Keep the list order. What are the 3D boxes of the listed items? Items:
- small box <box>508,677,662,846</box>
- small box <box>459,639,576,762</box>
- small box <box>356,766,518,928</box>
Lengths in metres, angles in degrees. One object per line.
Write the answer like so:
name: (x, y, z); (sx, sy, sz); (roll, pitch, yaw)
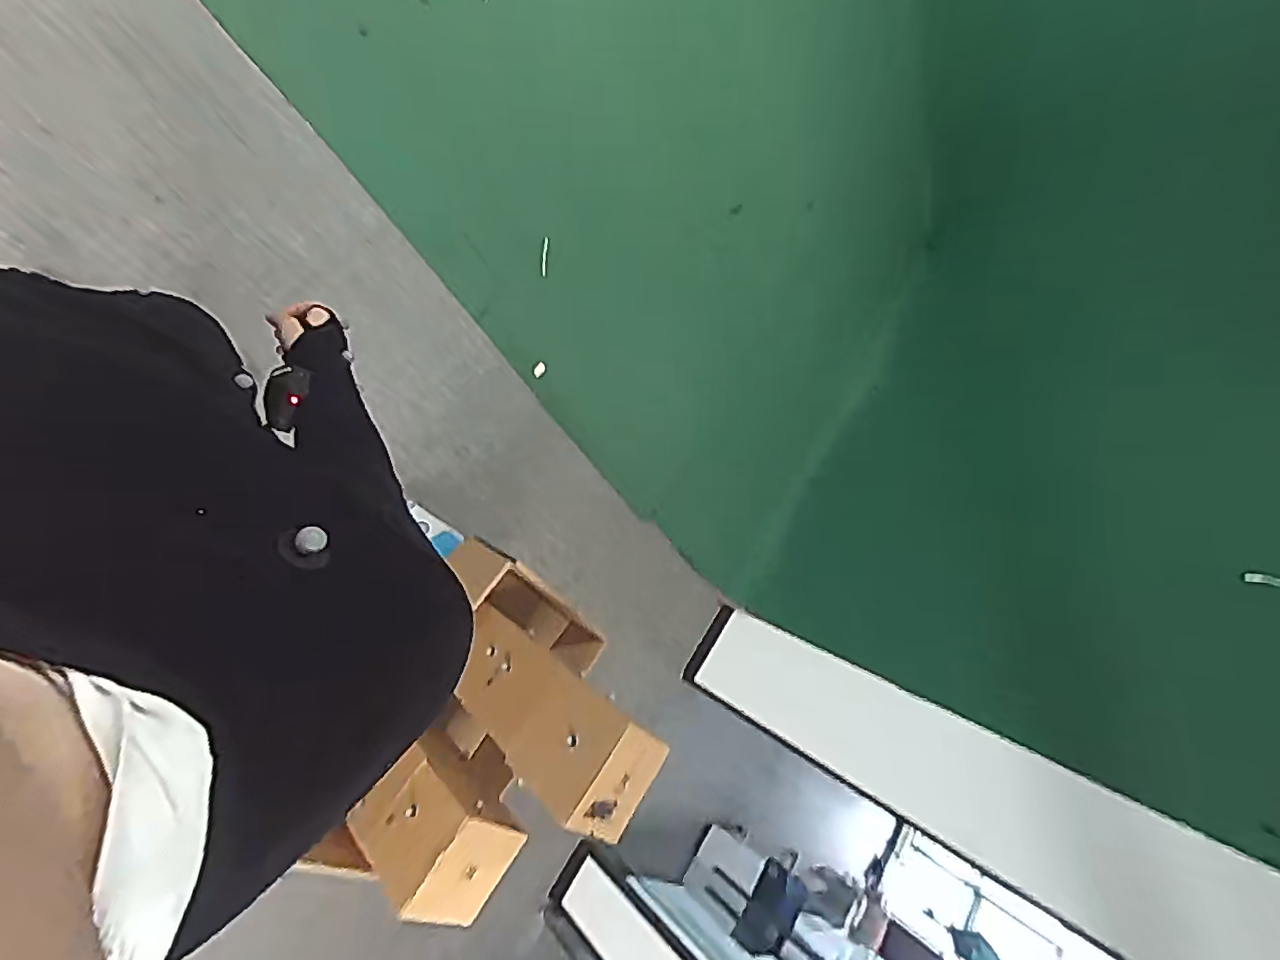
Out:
small box: (-0.099, 0.476, 0.926); (0.179, 0.176, 0.168); (-53, 136, -18)
small box: (-0.208, 0.435, 1.040); (0.168, 0.176, 0.179); (-52, 134, -18)
small box: (-0.359, 0.645, 0.961); (0.168, 0.176, 0.179); (-52, 135, -19)
